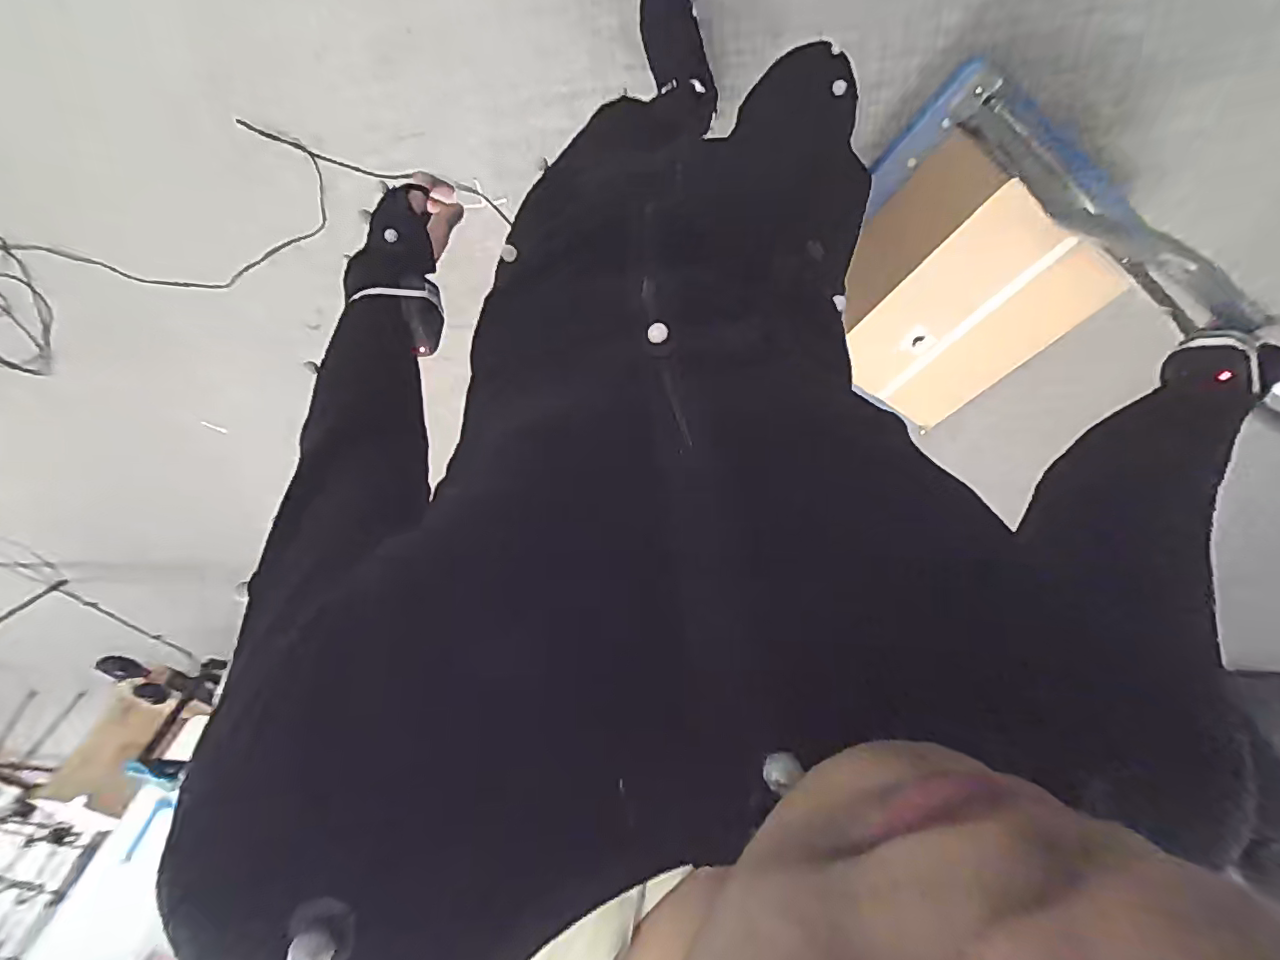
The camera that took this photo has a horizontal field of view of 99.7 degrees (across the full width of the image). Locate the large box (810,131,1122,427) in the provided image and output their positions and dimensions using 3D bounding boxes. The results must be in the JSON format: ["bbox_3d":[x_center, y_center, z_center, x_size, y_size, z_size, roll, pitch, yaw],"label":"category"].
[{"bbox_3d":[0.613,-0.394,1.103,0.320,0.320,0.408,27,134,-17],"label":"large box"}]
